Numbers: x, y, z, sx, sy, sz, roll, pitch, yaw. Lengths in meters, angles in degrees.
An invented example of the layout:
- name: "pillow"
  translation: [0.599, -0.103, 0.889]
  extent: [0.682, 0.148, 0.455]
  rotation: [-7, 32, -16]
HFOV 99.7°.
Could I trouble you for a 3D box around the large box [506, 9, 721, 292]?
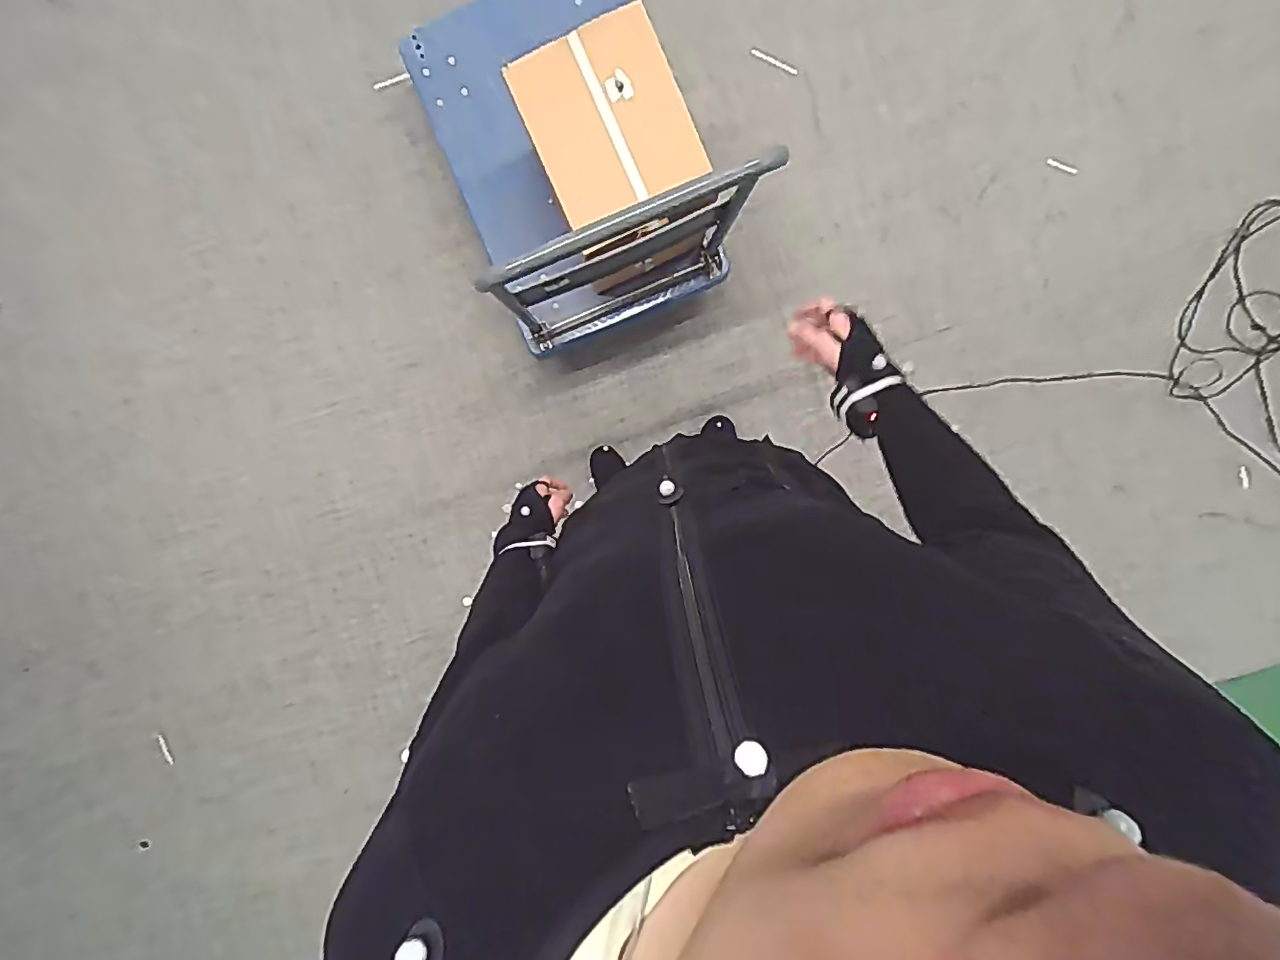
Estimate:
- name: "large box"
  translation: [-0.048, -0.716, 1.249]
  extent: [0.320, 0.320, 0.408]
  rotation: [-24, 94, 2]
